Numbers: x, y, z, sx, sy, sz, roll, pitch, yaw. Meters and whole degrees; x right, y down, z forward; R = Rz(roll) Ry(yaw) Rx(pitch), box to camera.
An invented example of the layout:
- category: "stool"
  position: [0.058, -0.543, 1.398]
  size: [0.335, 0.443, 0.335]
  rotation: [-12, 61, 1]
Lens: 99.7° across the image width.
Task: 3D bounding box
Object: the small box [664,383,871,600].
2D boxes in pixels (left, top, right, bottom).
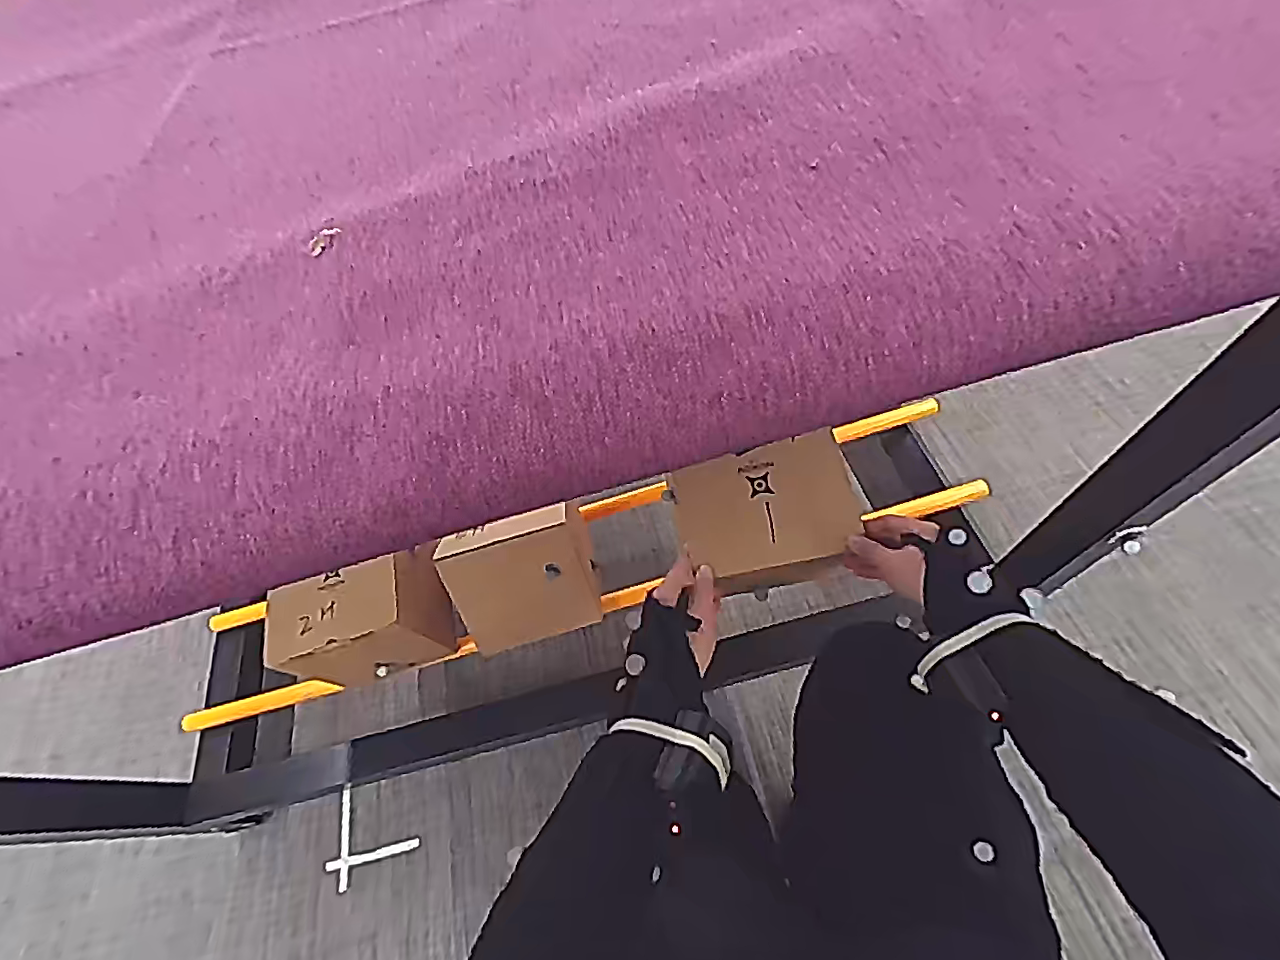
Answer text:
- category: "small box"
  position: [0.120, 0.022, 0.590]
  size: [0.168, 0.176, 0.179]
  rotation: [-11, 71, 1]

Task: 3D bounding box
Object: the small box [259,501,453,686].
- category: "small box"
  position: [-0.372, 0.159, 0.735]
  size: [0.168, 0.176, 0.179]
  rotation: [-18, 60, -1]
